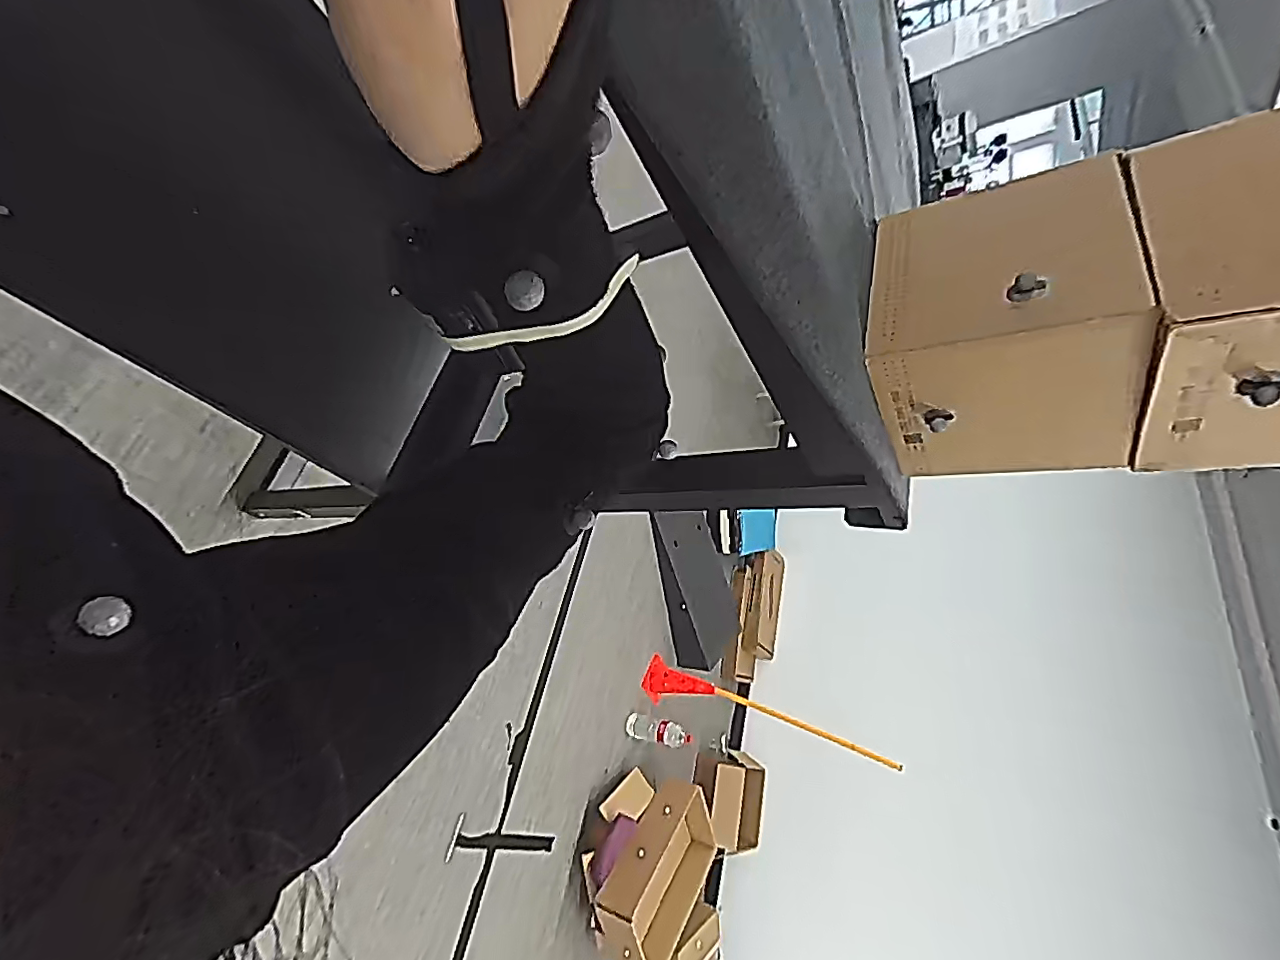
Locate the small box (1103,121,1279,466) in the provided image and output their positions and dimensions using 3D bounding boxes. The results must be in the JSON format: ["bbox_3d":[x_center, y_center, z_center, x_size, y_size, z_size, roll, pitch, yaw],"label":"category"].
[{"bbox_3d":[0.433,-0.125,0.365,0.168,0.176,0.179,45,53,-44],"label":"small box"}]
